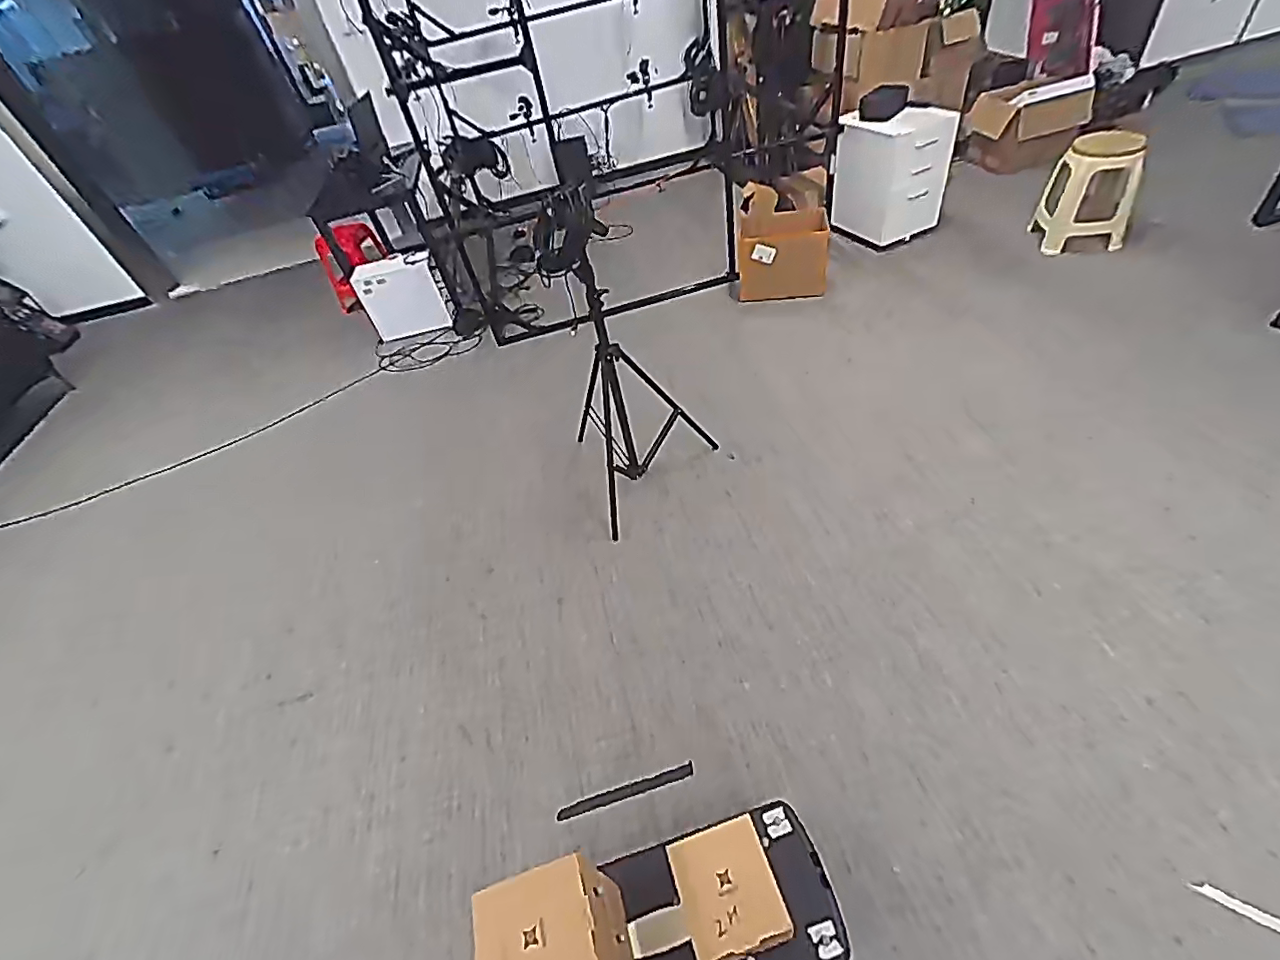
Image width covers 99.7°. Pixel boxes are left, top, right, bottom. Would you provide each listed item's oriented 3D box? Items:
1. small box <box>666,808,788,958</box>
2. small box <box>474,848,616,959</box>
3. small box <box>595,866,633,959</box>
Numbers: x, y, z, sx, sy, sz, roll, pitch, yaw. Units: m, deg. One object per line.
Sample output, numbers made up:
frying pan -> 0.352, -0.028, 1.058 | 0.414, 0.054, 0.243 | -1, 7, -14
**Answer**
small box -> 0.159, 0.745, 0.996 | 0.168, 0.176, 0.179 | -19, 45, -3
small box -> -0.144, 0.723, 0.858 | 0.179, 0.176, 0.168 | -19, 44, -6
small box -> -0.117, 0.835, 0.973 | 0.179, 0.176, 0.168 | -19, 45, -5
